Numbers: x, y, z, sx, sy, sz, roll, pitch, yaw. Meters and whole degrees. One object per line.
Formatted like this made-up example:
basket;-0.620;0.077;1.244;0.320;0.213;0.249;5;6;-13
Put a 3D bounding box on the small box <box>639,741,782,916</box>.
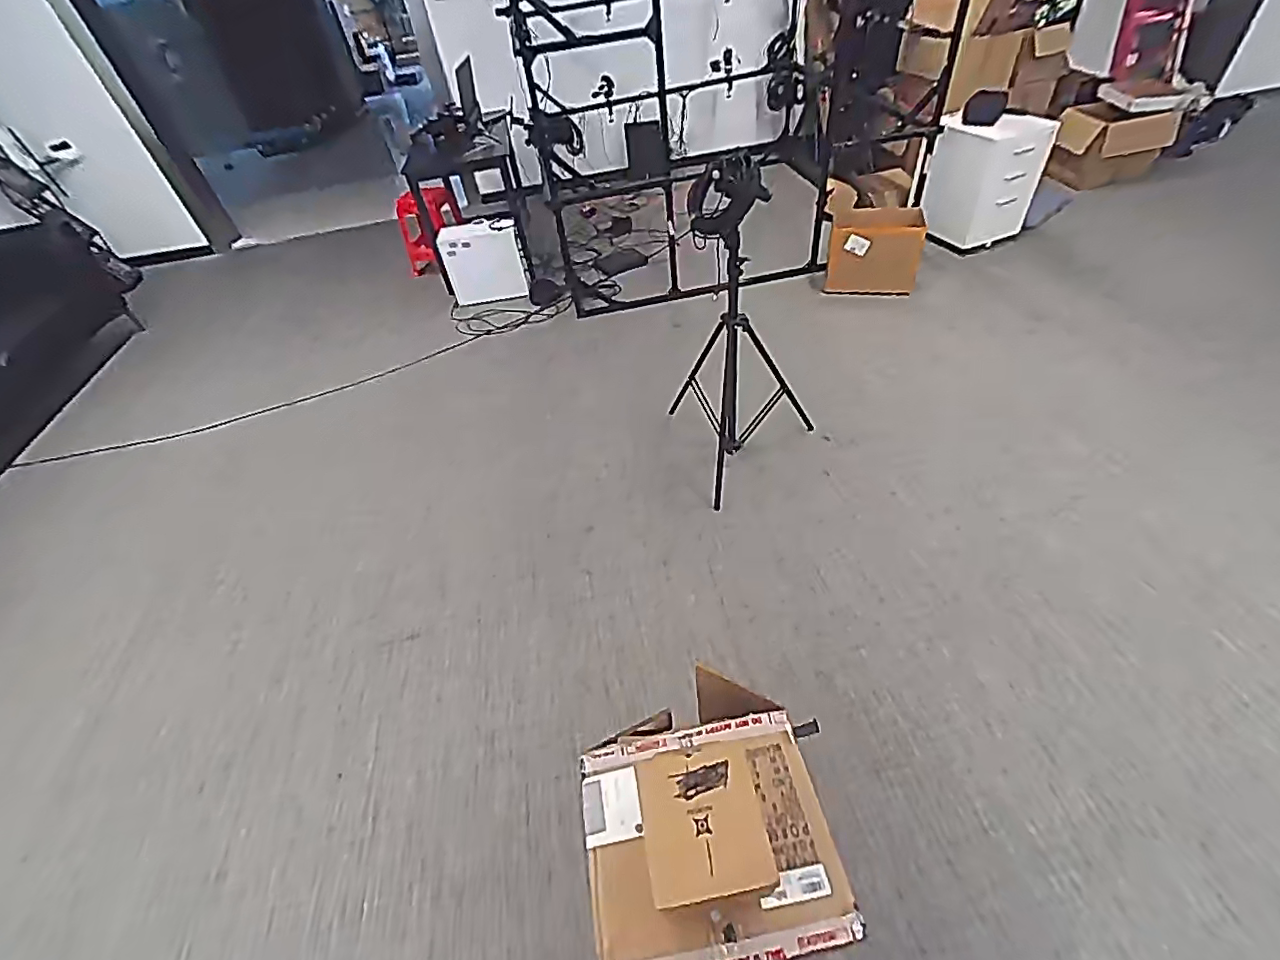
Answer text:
small box;0.097;0.518;0.802;0.168;0.176;0.179;-11;48;-1
